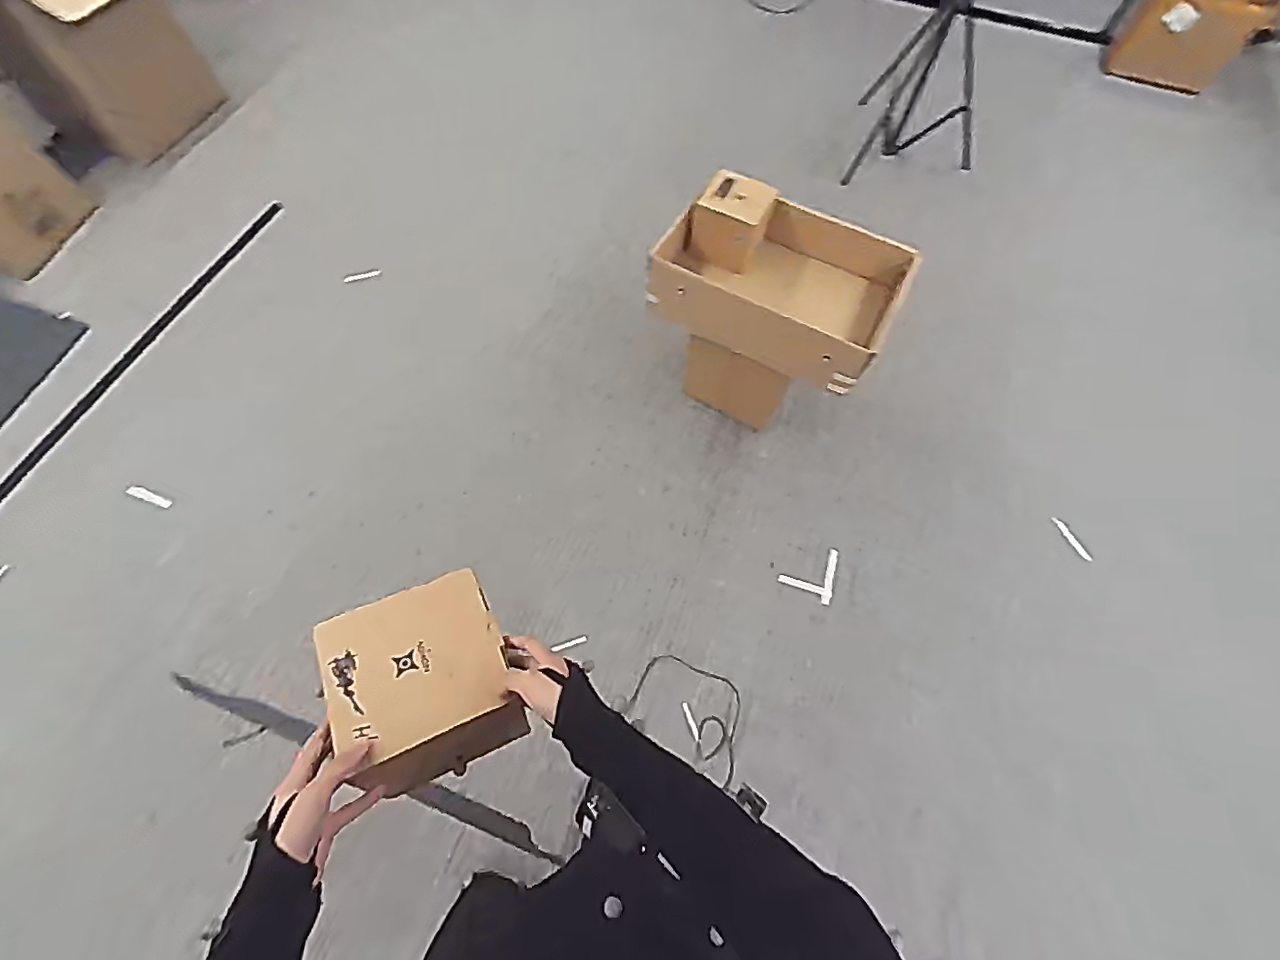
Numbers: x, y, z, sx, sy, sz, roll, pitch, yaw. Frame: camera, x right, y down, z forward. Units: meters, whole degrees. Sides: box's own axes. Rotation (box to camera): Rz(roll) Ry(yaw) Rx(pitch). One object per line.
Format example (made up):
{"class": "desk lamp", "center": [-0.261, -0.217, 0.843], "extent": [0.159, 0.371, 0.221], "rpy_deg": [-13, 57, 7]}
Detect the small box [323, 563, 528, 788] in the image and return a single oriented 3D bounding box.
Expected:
{"class": "small box", "center": [-0.235, 0.227, 0.624], "extent": [0.179, 0.176, 0.168], "rpy_deg": [-18, 57, -19]}
